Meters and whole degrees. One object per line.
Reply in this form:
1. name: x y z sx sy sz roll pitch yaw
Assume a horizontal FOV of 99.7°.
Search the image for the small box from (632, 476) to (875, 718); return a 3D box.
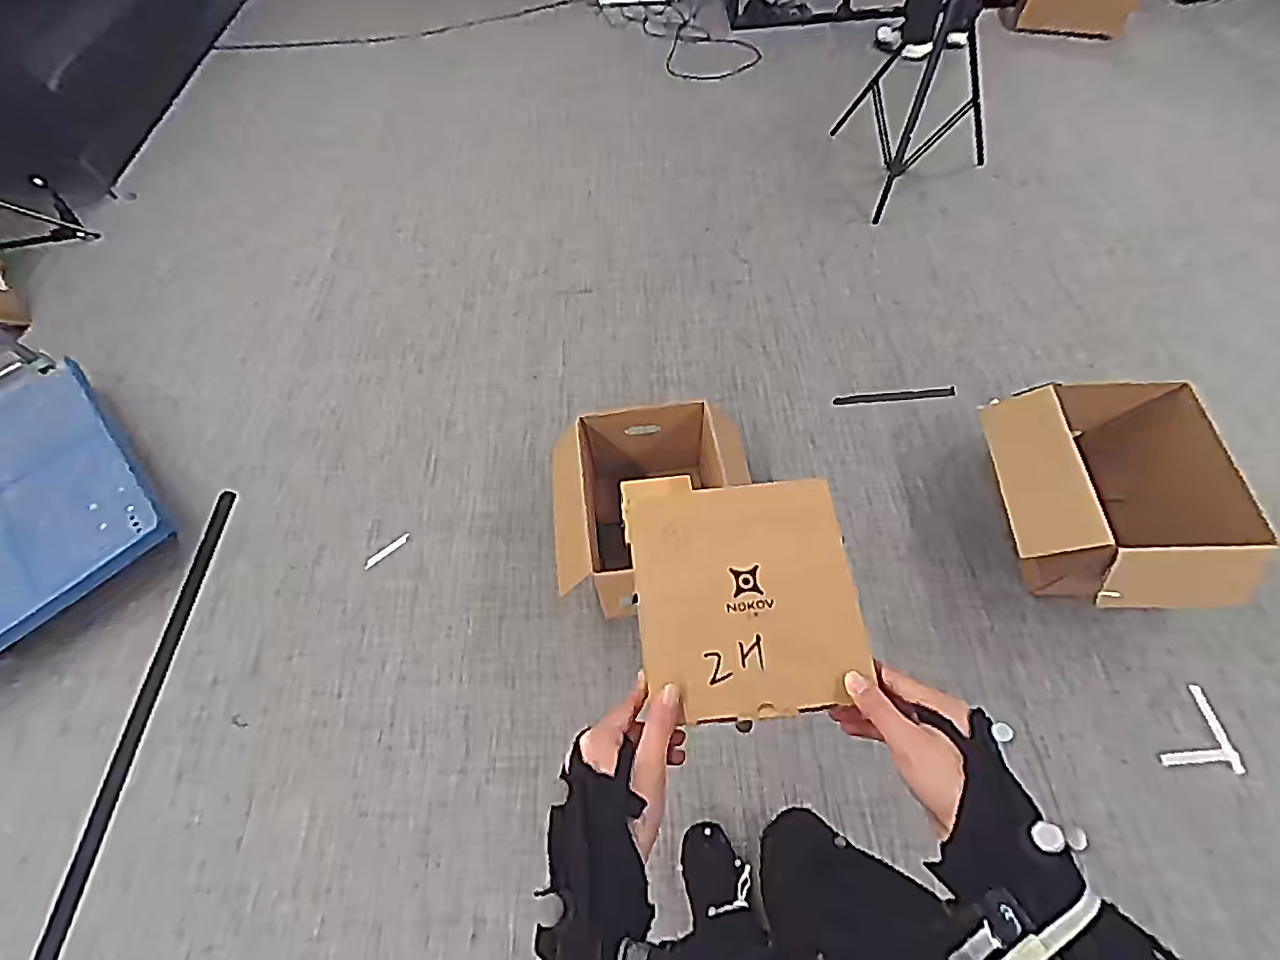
1. small box: 0.080 0.113 0.489 0.168 0.176 0.179 -6 68 -1
